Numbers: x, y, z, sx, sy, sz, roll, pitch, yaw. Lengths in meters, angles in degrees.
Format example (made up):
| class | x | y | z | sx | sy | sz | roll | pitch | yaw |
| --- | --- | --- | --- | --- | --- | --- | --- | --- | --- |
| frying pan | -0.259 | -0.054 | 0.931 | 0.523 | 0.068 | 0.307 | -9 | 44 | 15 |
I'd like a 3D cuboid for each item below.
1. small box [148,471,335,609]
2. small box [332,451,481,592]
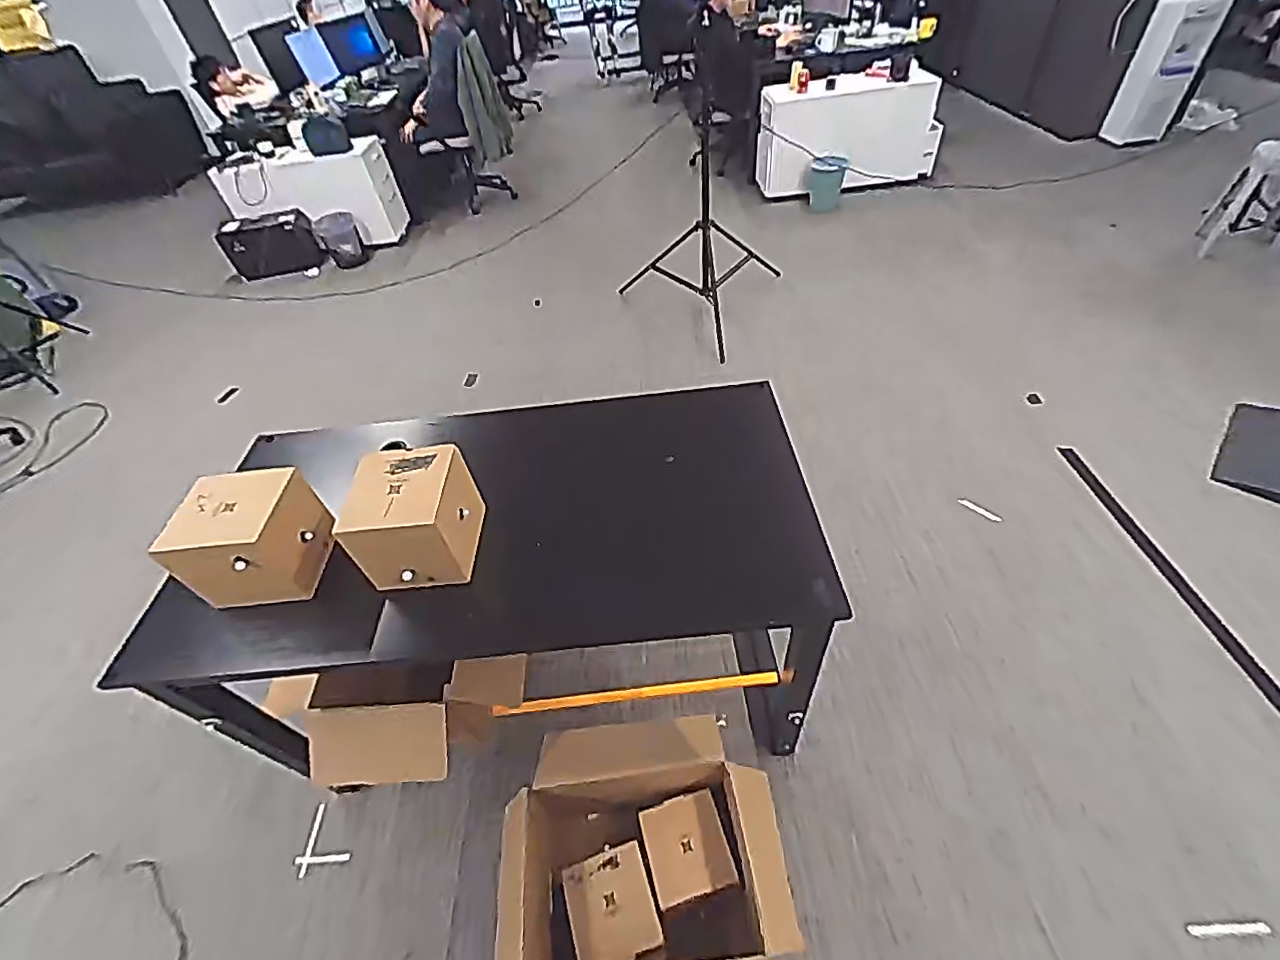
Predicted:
| class | x | y | z | sx | sy | sz | roll | pitch | yaw |
| --- | --- | --- | --- | --- | --- | --- | --- | --- | --- |
| small box | -0.673 | 0.107 | 0.944 | 0.179 | 0.176 | 0.168 | -6 | 46 | 1 |
| small box | -0.390 | 0.073 | 0.942 | 0.168 | 0.176 | 0.179 | -5 | 47 | 3 |
